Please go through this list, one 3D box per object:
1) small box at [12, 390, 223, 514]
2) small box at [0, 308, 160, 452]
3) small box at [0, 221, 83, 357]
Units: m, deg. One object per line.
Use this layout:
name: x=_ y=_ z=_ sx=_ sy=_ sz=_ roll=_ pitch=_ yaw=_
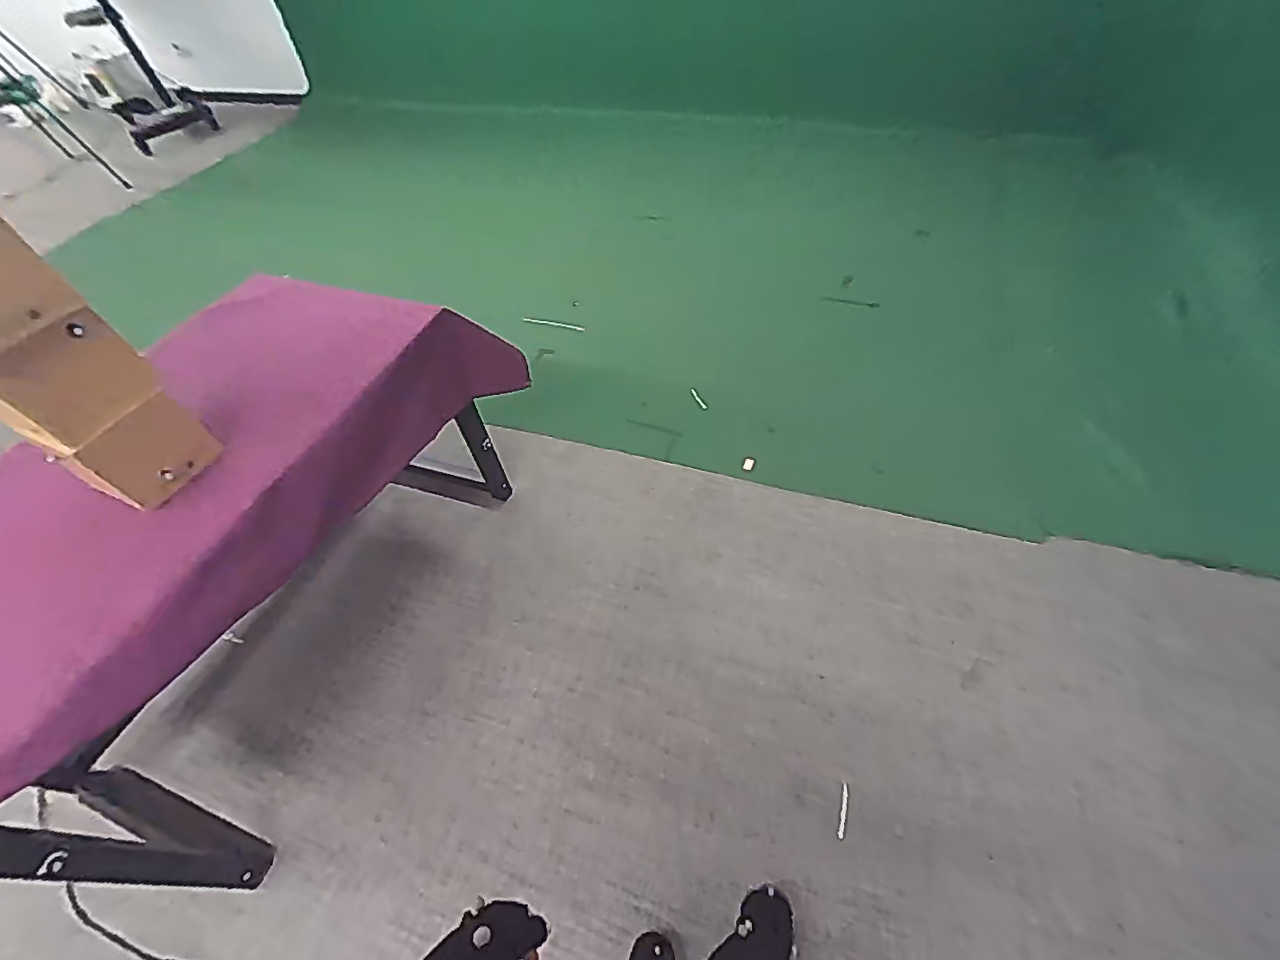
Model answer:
small box: x=-0.915 y=-0.064 z=0.964 sx=0.179 sy=0.176 sz=0.168 roll=18 pitch=56 yaw=18
small box: x=-0.927 y=-0.169 z=0.842 sx=0.168 sy=0.176 sz=0.179 roll=16 pitch=55 yaw=17
small box: x=-0.918 y=-0.265 z=0.707 sx=0.179 sy=0.176 sz=0.168 roll=18 pitch=56 yaw=20
